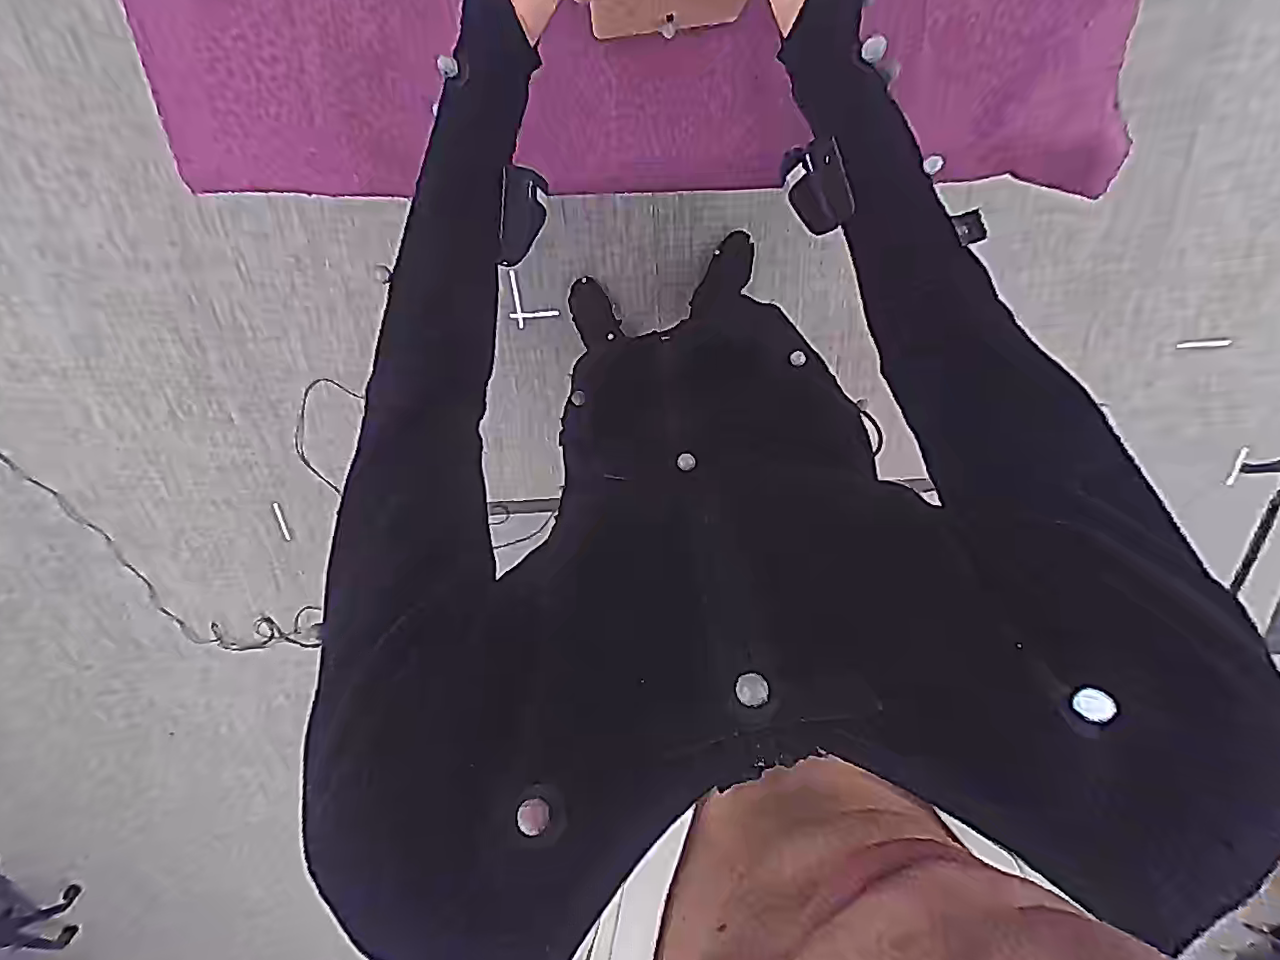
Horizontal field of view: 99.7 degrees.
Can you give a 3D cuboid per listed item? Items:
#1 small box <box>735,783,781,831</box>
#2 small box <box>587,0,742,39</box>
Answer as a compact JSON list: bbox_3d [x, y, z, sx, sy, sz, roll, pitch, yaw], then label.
[{"bbox_3d":[0.513,1.462,2.360,0.168,0.176,0.179,-8,115,1],"label":"small box"},{"bbox_3d":[0.024,-0.585,0.553,0.179,0.176,0.168,-7,115,0],"label":"small box"}]
